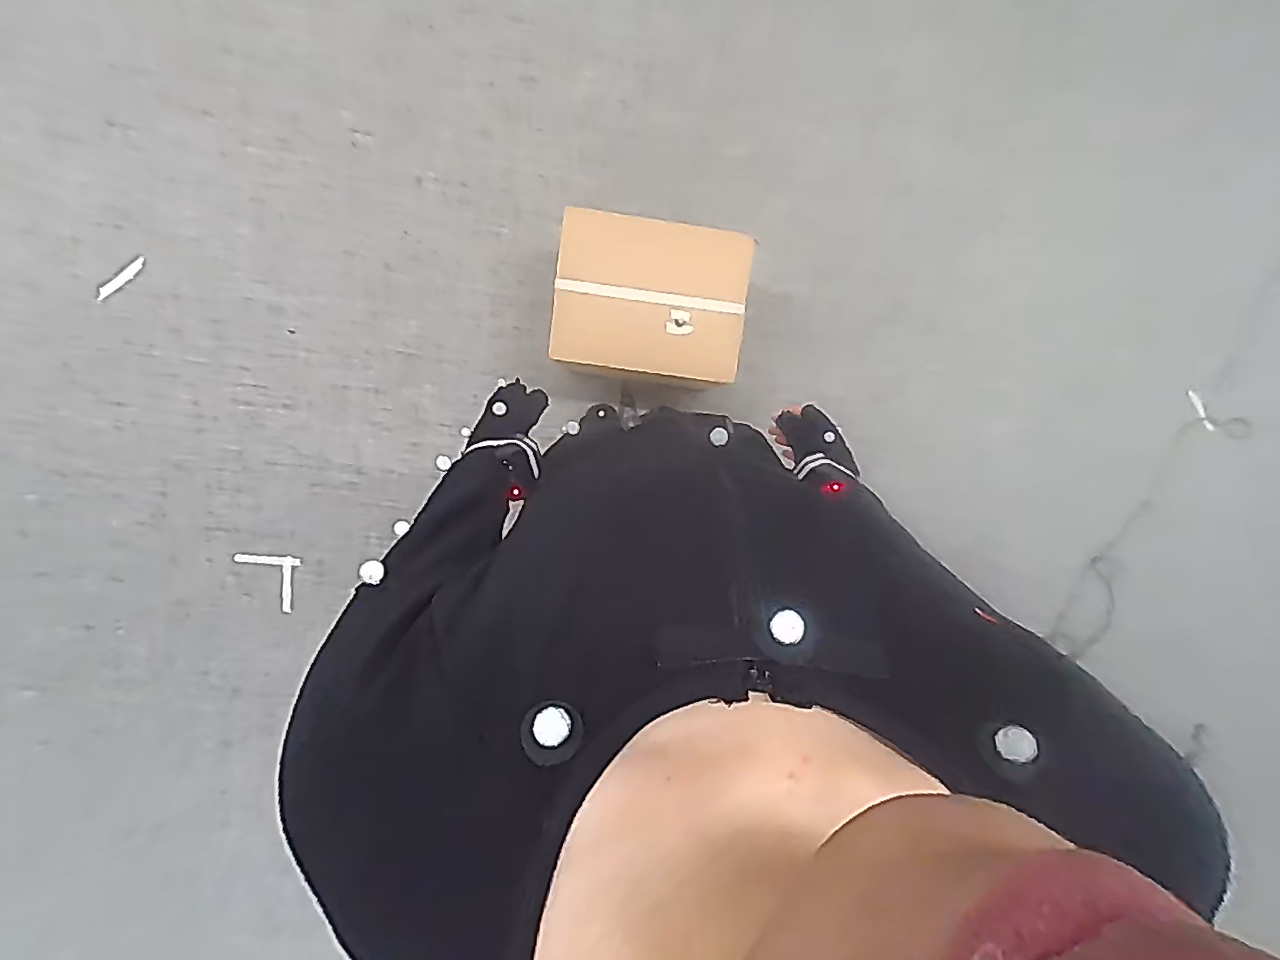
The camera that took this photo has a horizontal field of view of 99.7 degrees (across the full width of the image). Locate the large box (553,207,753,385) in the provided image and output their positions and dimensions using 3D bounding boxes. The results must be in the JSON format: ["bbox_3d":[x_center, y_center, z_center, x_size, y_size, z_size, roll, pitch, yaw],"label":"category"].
[{"bbox_3d":[0.016,-0.410,1.289,0.408,0.320,0.320,7,97,-4],"label":"large box"}]
